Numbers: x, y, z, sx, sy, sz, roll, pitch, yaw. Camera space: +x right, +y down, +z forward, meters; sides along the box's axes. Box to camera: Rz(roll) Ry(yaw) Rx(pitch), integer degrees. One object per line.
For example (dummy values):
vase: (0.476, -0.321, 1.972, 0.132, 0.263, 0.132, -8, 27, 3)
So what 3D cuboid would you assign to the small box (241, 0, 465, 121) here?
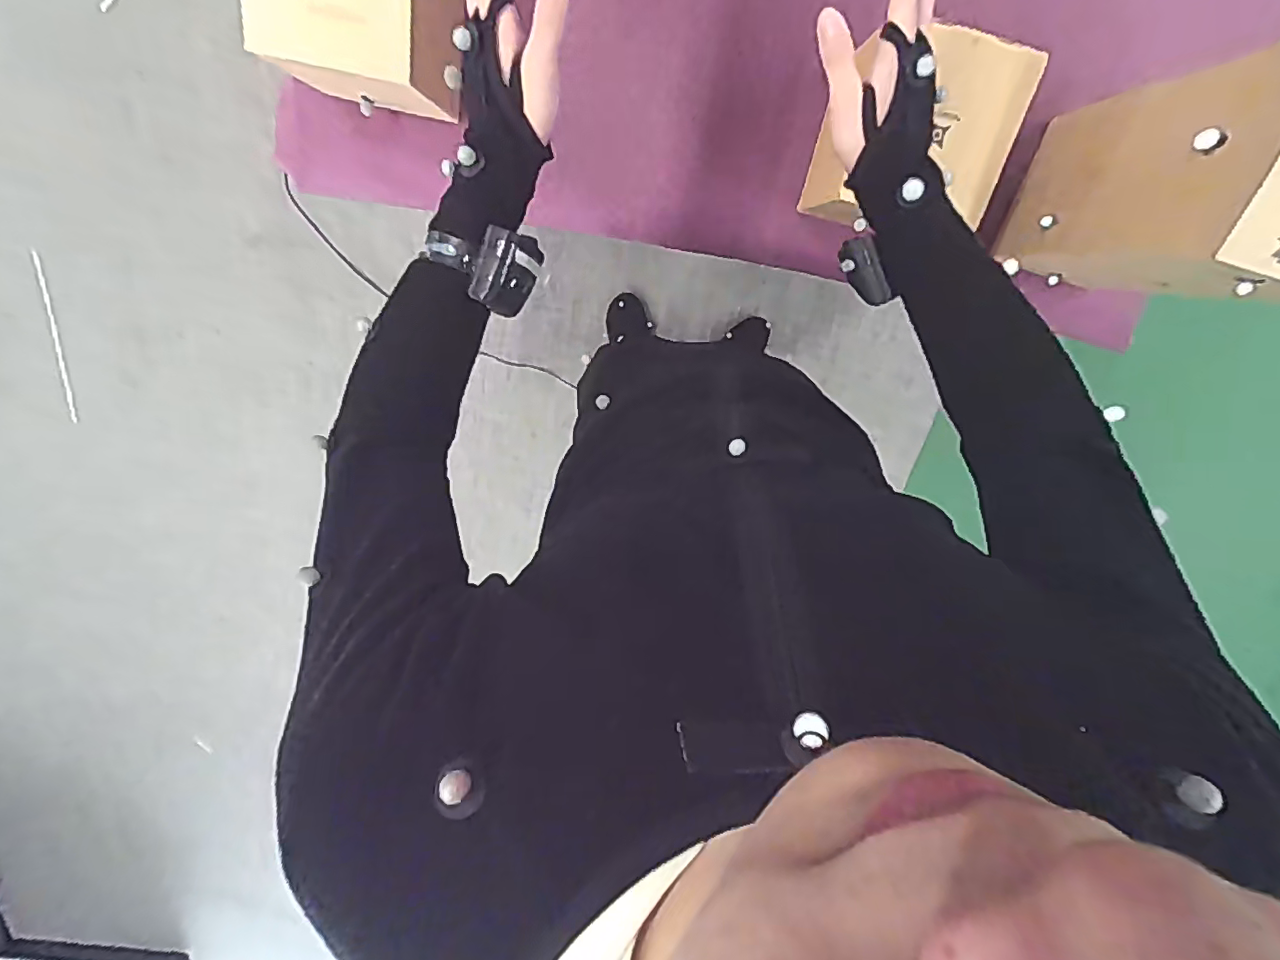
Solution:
small box: (-0.298, -0.526, 0.589, 0.168, 0.176, 0.179, 10, 112, -4)

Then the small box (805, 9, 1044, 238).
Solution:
small box: (0.314, -0.400, 0.644, 0.168, 0.176, 0.179, 12, 110, -5)

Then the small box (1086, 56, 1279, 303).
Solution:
small box: (0.590, -0.278, 0.514, 0.168, 0.176, 0.179, 14, 111, -5)
